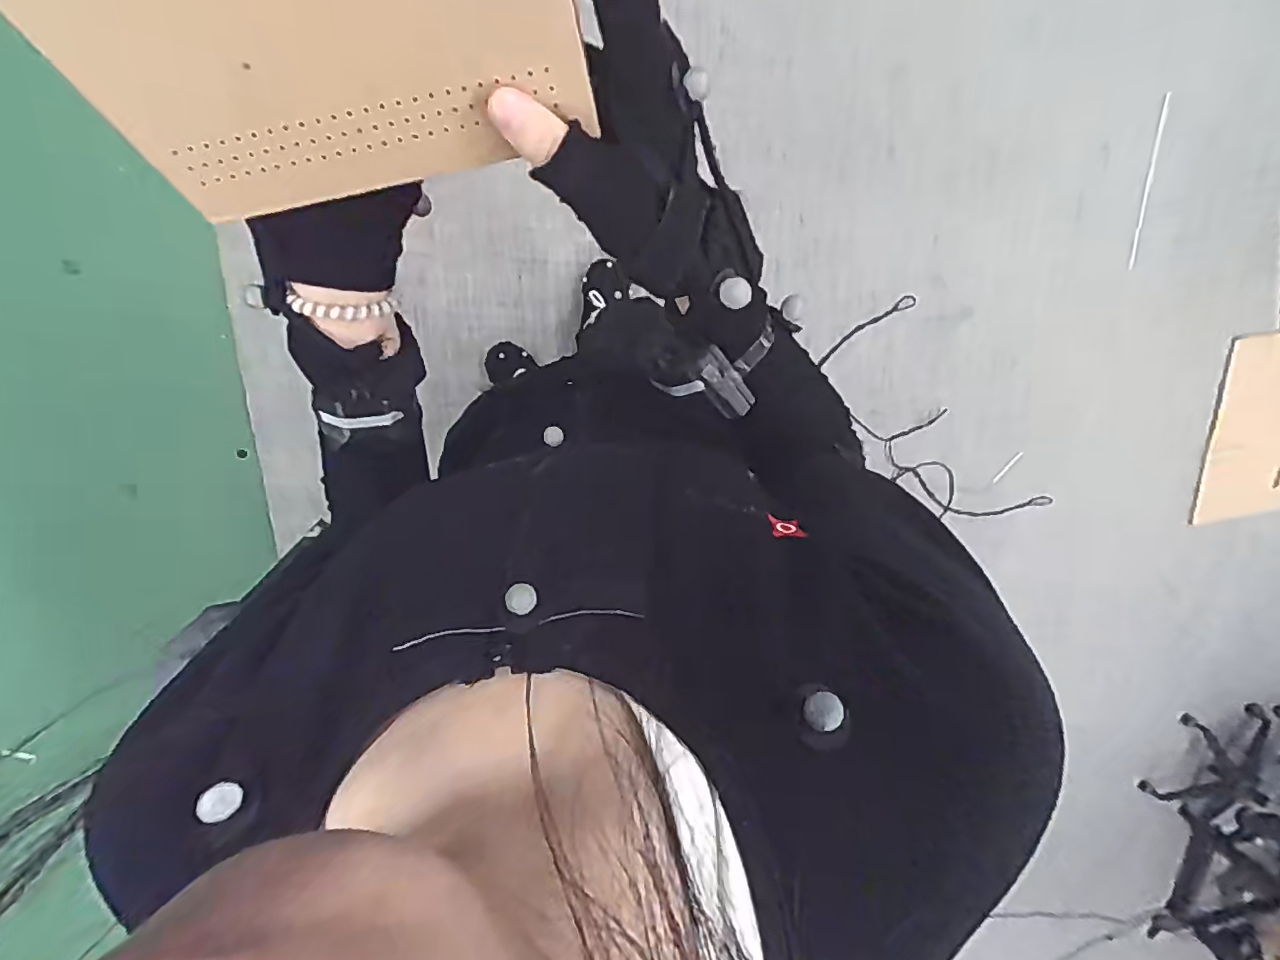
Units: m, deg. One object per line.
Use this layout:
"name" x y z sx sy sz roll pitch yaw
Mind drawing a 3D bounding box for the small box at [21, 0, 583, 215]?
"small box" -0.122 -0.235 0.202 0.179 0.176 0.168 -10 64 3
